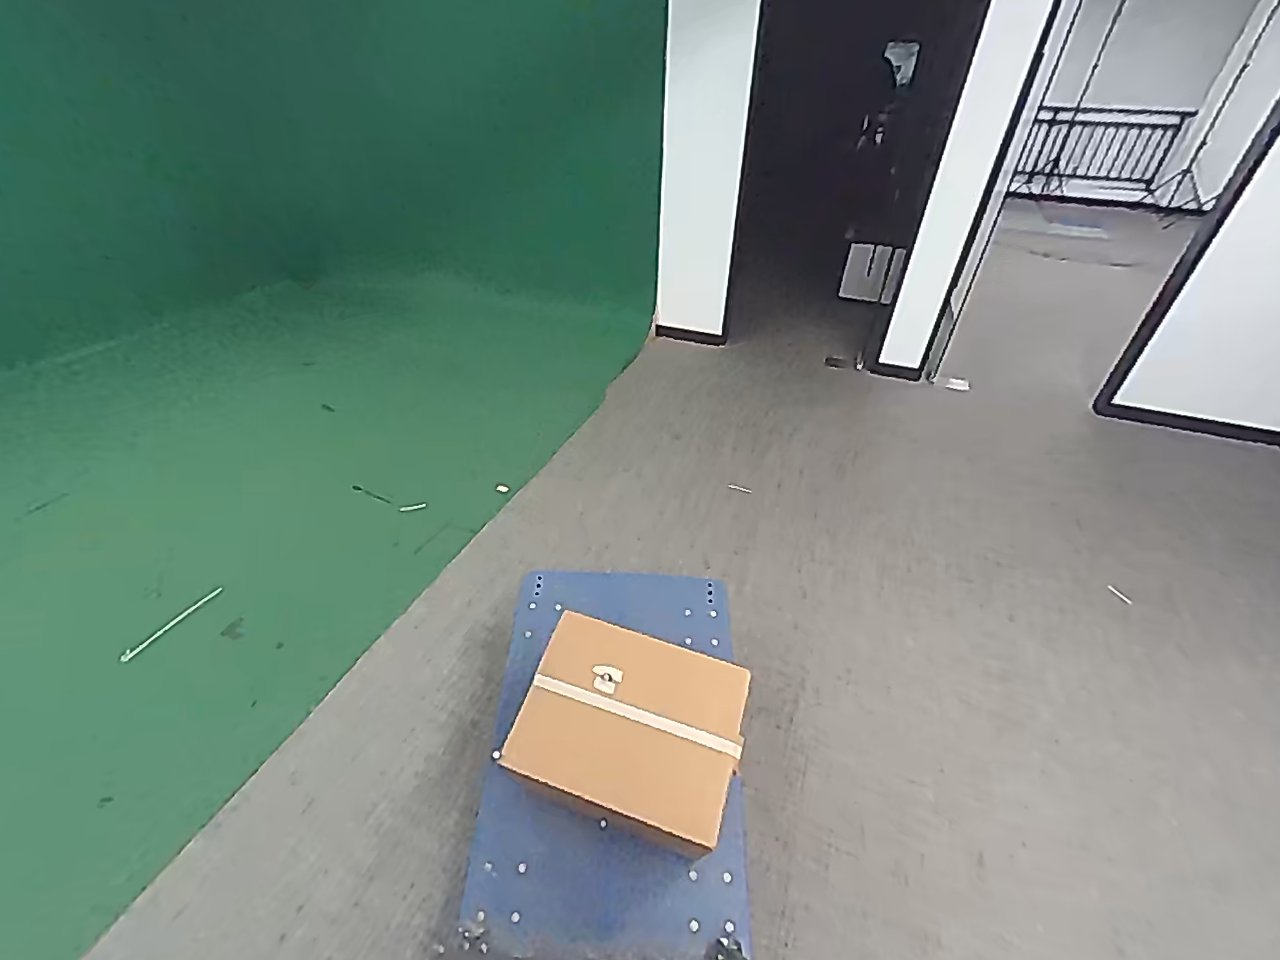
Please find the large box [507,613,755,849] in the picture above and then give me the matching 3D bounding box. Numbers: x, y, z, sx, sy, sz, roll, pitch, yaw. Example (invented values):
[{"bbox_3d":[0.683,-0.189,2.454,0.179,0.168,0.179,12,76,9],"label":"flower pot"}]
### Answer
[{"bbox_3d":[-0.002,0.530,1.136,0.408,0.320,0.320,14,54,12],"label":"large box"}]
